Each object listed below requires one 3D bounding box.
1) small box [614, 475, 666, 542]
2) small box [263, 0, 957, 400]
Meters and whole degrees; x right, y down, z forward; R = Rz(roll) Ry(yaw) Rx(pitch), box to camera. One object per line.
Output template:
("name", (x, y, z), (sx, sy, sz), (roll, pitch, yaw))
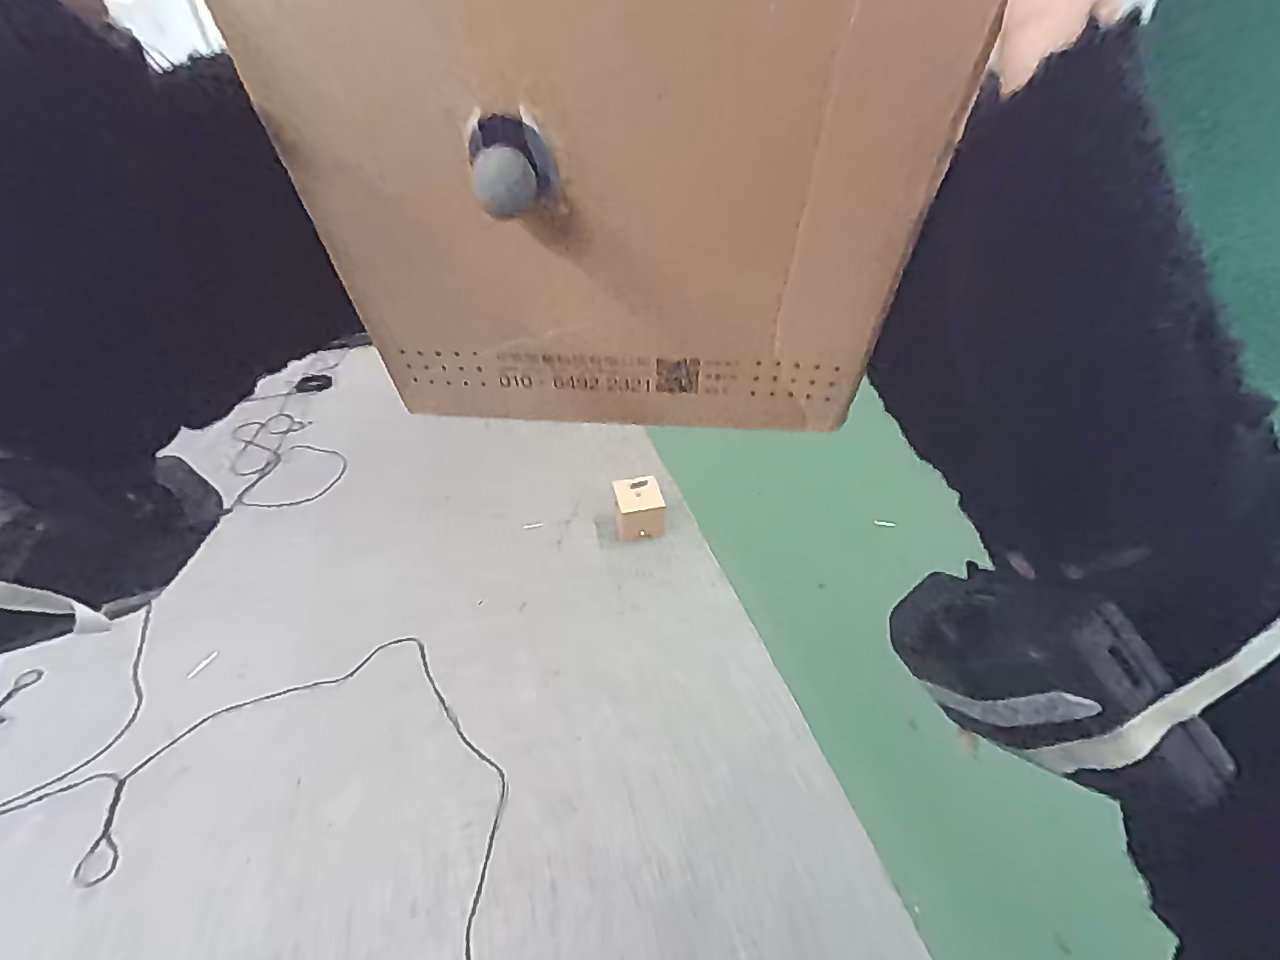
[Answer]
("small box", (-0.003, 0.109, 2.045), (0.168, 0.176, 0.179), (-9, 43, -10))
("small box", (0.000, -0.146, 0.202), (0.168, 0.176, 0.179), (2, 50, 4))
